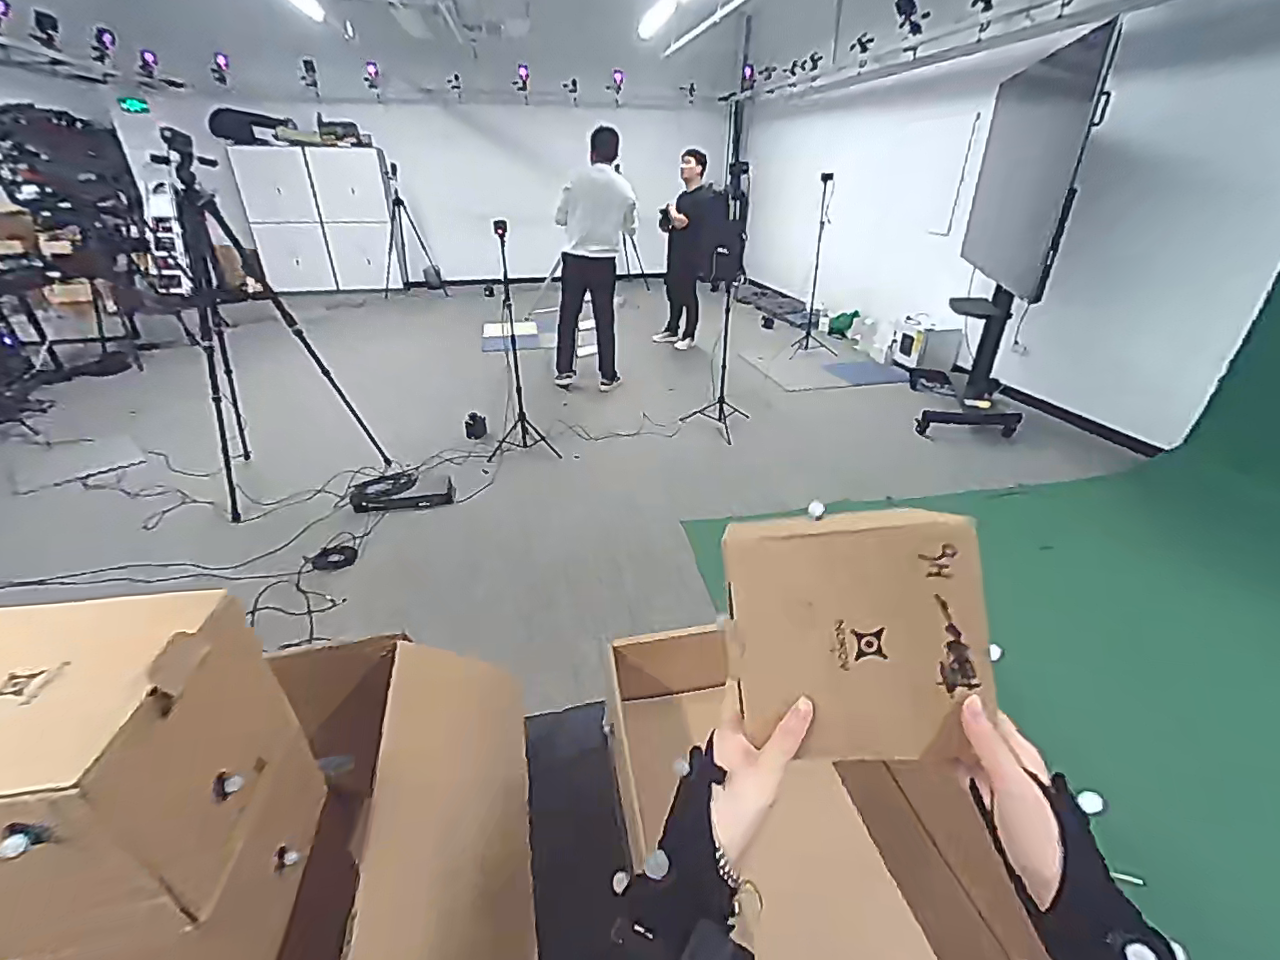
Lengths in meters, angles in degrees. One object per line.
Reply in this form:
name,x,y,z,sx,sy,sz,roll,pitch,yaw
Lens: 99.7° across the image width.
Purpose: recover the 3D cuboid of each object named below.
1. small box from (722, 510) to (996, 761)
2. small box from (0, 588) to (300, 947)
small box,0.169,0.116,0.465,0.179,0.168,0.176,-5,0,11
small box,-0.392,0.203,0.397,0.179,0.176,0.168,-3,30,-8
